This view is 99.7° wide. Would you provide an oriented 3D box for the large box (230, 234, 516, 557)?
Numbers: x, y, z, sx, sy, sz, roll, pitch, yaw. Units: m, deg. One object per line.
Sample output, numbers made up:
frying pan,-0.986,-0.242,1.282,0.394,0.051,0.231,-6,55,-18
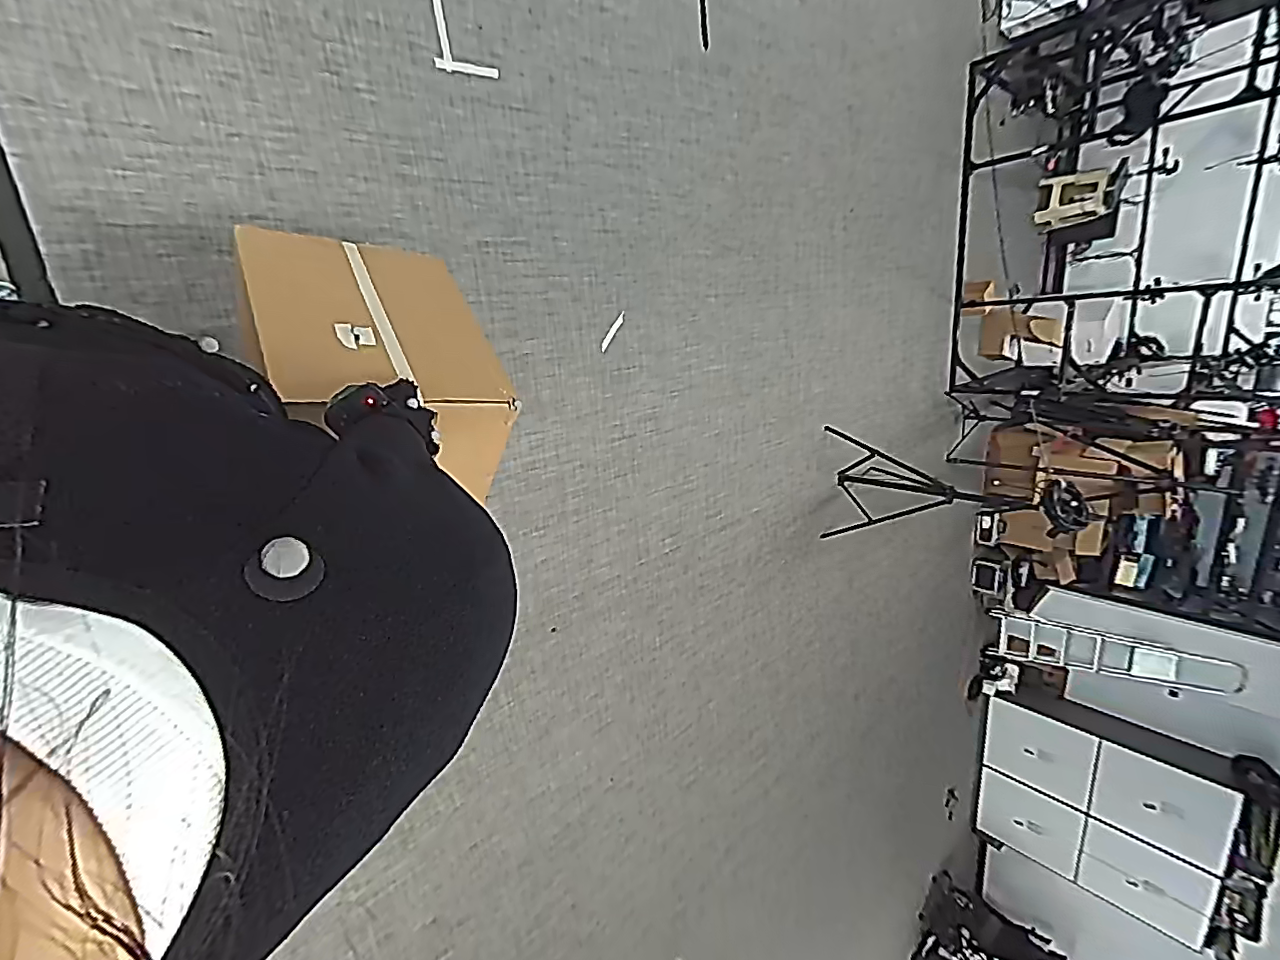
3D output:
large box,-0.466,-0.139,0.908,0.320,0.408,0.320,-8,143,-39
